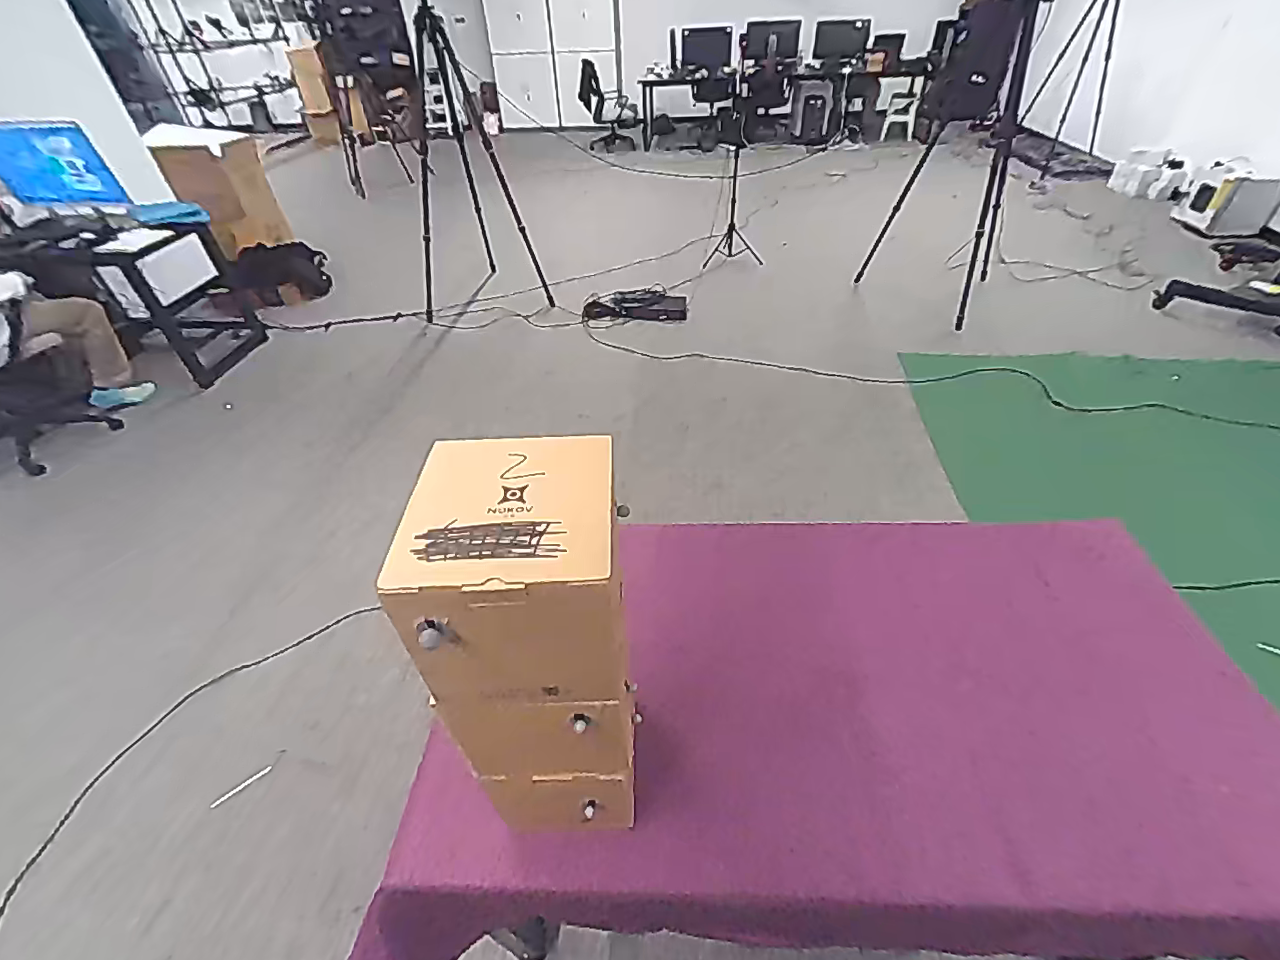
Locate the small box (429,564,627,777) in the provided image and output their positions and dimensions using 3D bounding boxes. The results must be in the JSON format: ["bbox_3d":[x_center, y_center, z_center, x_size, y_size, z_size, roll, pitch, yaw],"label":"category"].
[{"bbox_3d":[-0.105,0.211,0.598,0.179,0.176,0.168,-1,41,-1],"label":"small box"}]

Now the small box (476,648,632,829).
[{"bbox_3d":[-0.096,0.334,0.704,0.168,0.176,0.179,0,41,1],"label":"small box"}]
